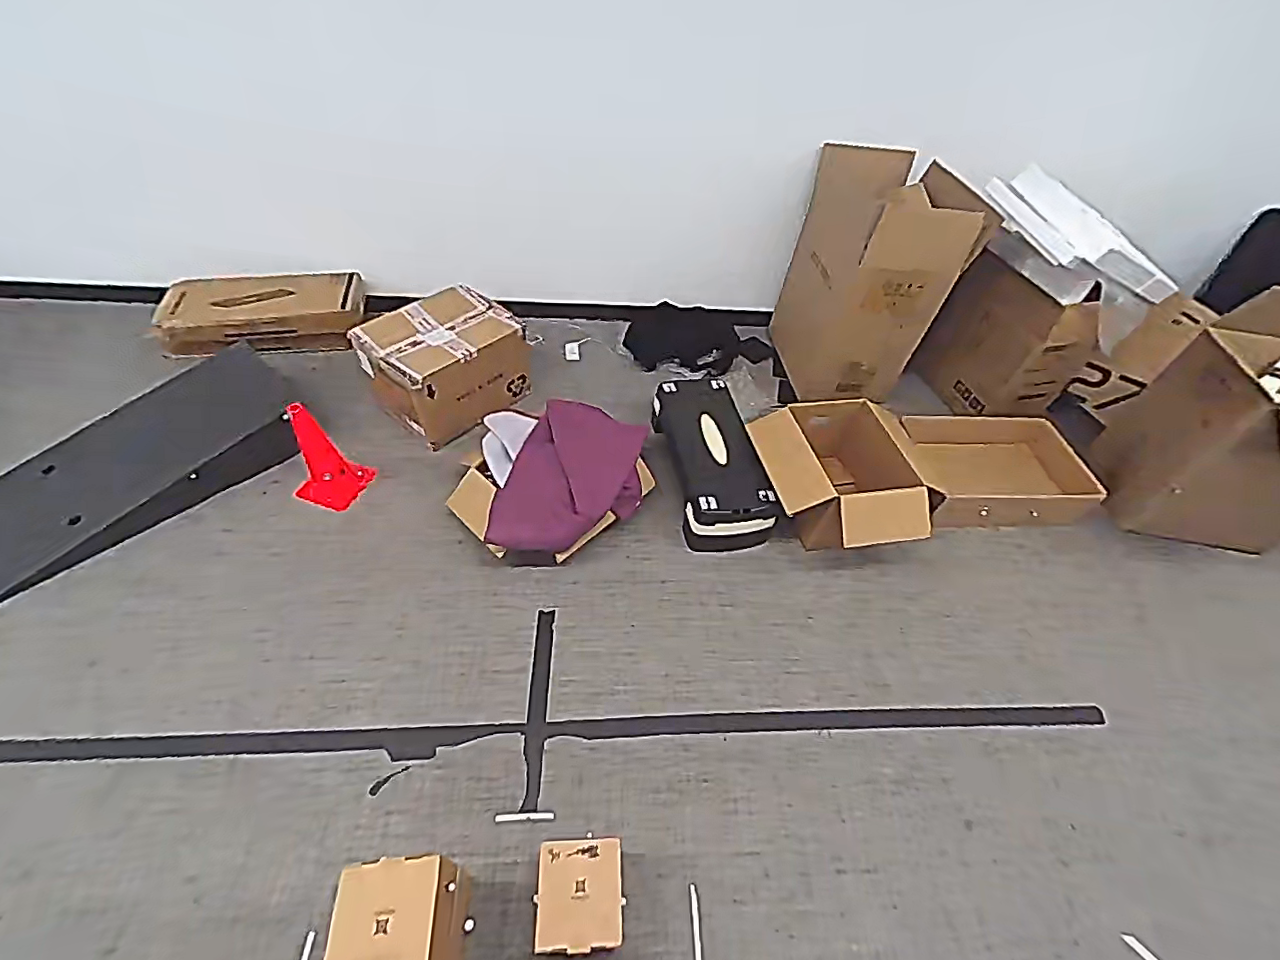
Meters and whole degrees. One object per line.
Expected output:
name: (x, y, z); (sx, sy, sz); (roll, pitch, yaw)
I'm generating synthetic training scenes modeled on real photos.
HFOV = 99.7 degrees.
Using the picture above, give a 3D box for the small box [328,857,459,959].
small box: (-0.422, 0.785, 0.947); (0.168, 0.176, 0.179); (-3, 50, -6)

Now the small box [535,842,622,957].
small box: (-0.121, 0.867, 1.122); (0.168, 0.176, 0.179); (1, 49, -5)

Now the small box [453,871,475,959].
small box: (-0.437, 0.890, 1.070); (0.179, 0.176, 0.168); (0, 49, -6)
